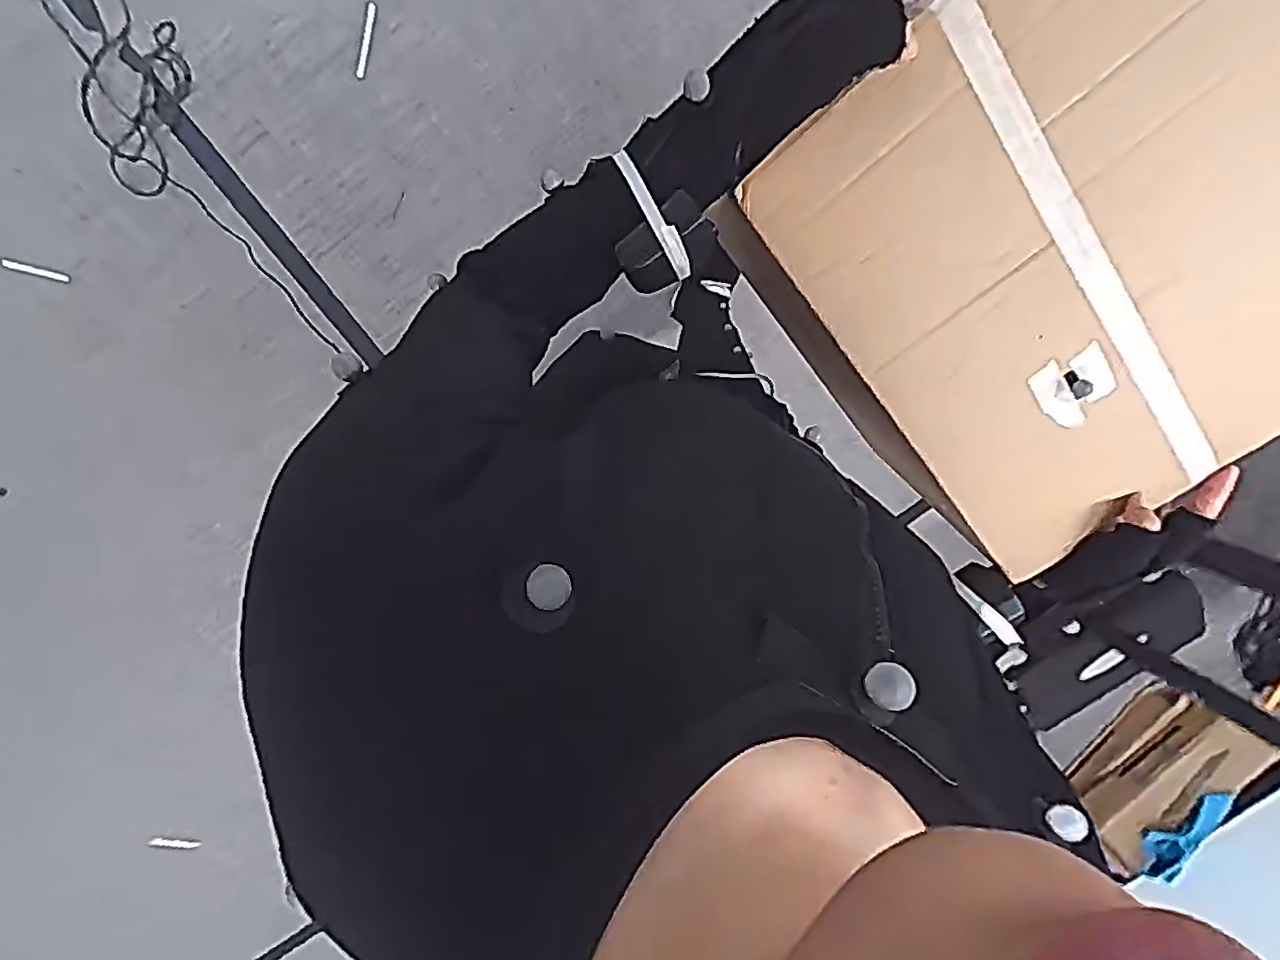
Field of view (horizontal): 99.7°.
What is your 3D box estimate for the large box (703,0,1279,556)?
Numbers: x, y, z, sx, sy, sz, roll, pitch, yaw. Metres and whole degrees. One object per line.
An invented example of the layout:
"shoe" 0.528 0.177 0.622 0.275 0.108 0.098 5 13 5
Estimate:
"large box" 0.311 -0.215 0.522 0.320 0.320 0.408 -37 108 17
